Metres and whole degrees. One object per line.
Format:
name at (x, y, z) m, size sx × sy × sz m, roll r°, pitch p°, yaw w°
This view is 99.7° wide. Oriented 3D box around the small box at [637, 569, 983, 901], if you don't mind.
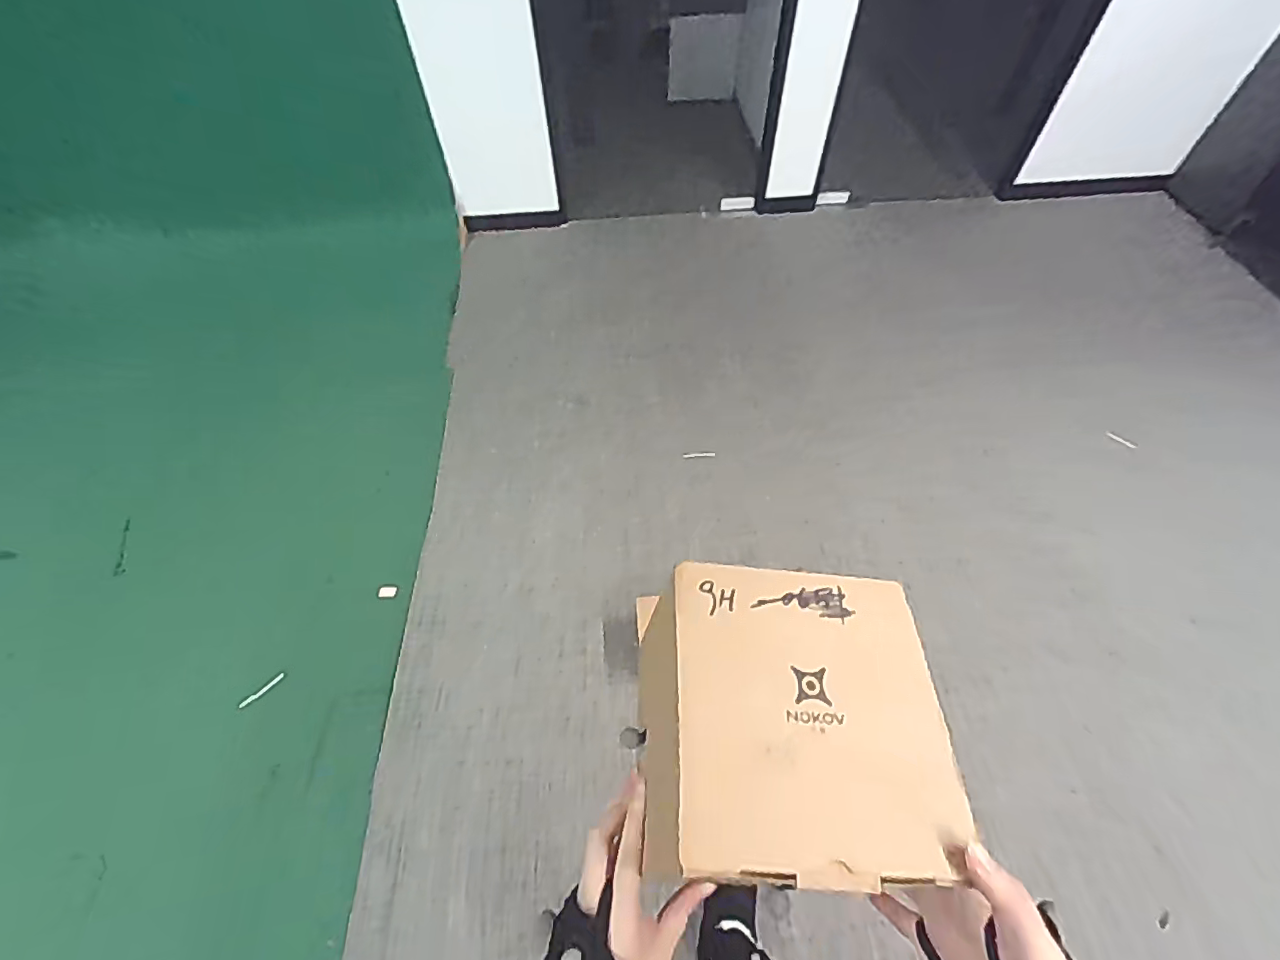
small box at (0.092, 0.185, 0.388) m, size 0.168 × 0.176 × 0.179 m, roll 7°, pitch 53°, yaw -7°
